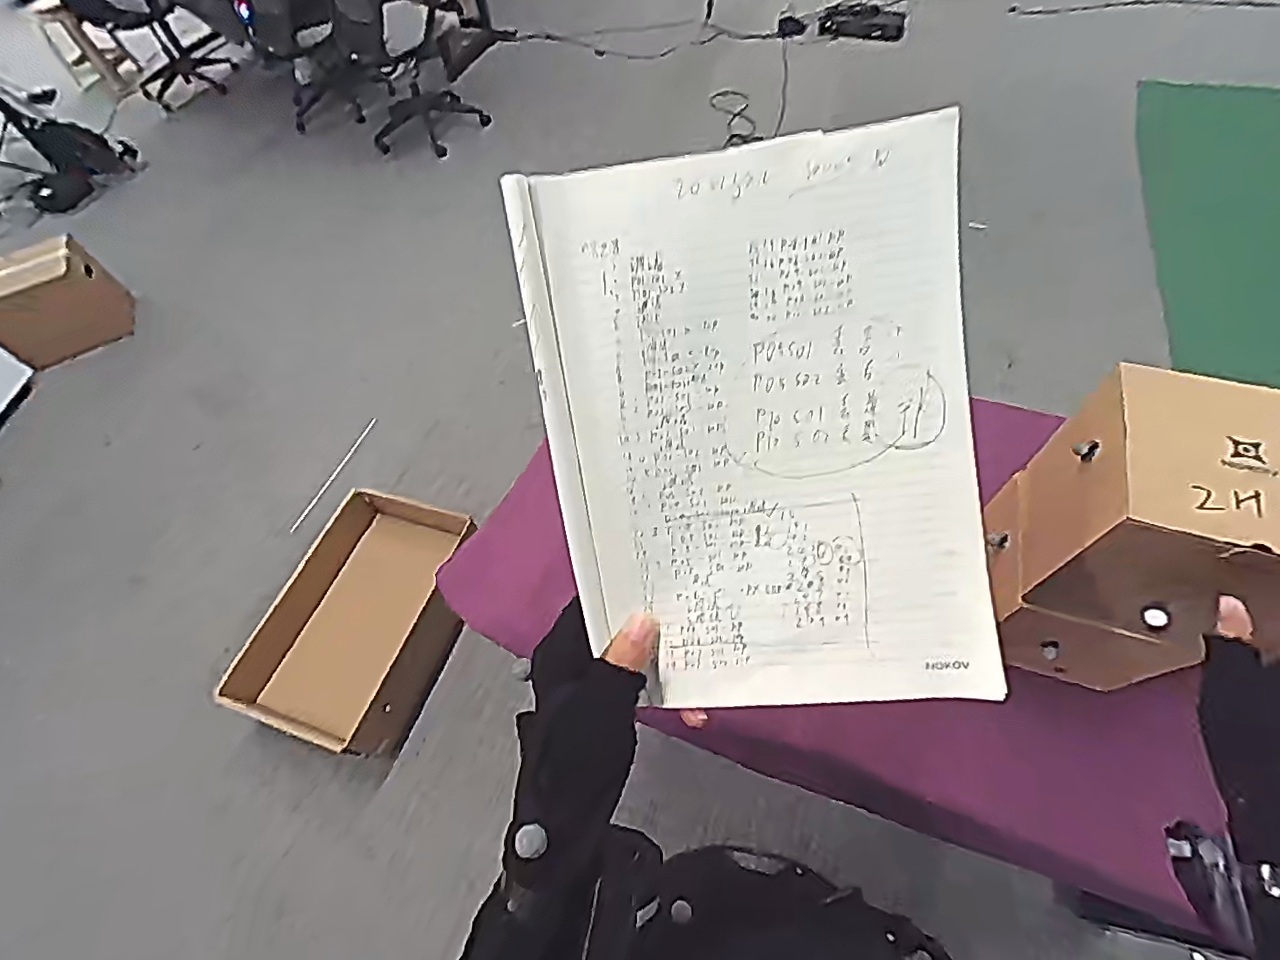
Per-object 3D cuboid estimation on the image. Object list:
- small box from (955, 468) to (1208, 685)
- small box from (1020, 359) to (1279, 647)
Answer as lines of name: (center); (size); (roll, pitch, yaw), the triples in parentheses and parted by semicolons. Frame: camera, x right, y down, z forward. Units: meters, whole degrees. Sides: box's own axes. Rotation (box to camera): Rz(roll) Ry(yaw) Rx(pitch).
small box: (0.489, 0.117, 0.630); (0.168, 0.176, 0.179); (14, 60, 15)
small box: (0.479, 0.025, 0.493); (0.168, 0.176, 0.179); (17, 61, 16)
